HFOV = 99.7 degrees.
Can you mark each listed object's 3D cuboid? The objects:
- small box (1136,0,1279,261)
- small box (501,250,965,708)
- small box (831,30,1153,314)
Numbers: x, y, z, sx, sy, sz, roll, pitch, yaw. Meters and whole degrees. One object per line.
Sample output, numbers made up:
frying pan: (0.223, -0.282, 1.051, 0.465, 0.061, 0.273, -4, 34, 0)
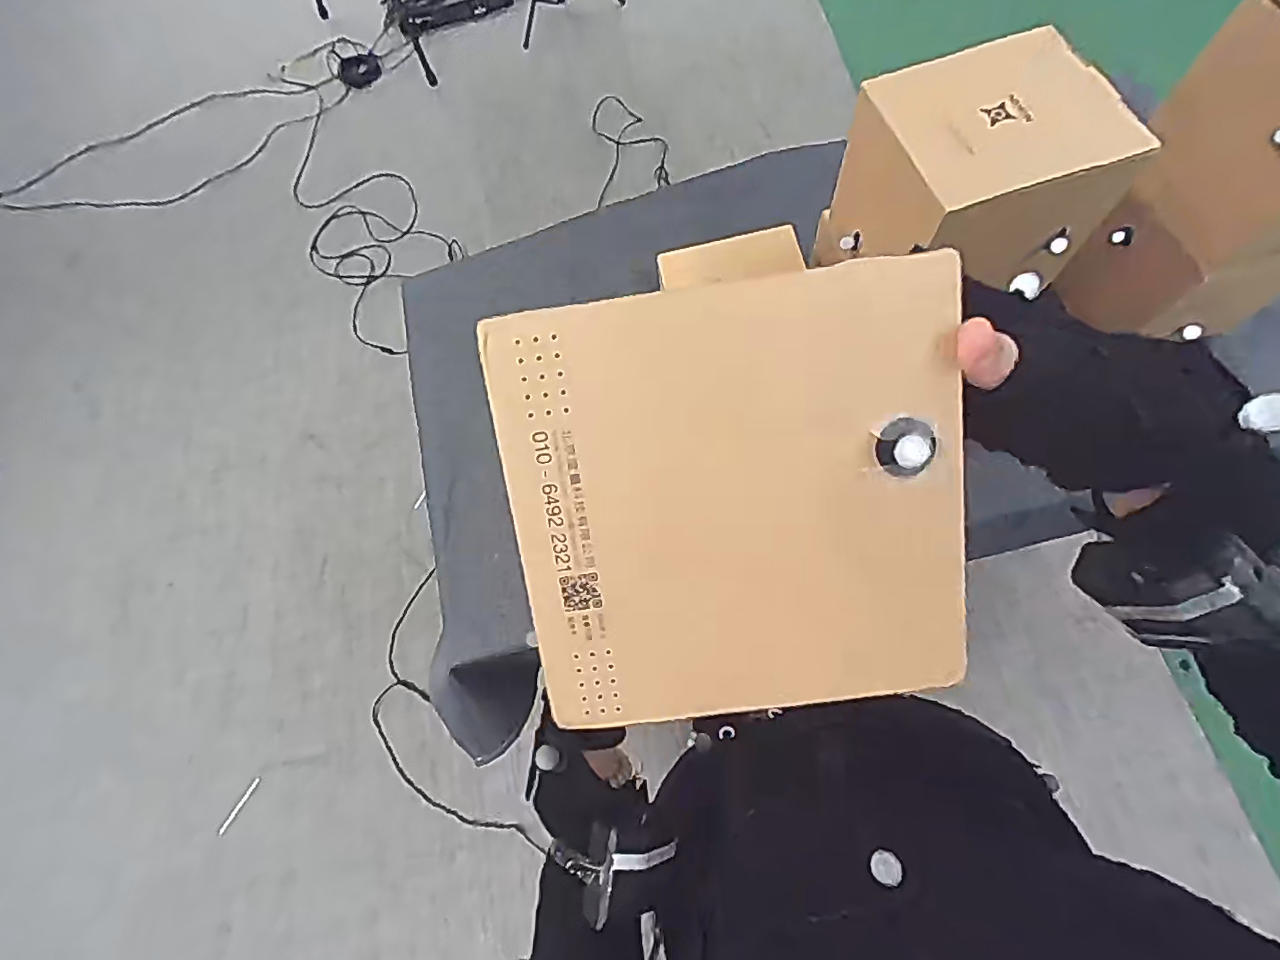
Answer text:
small box: (0.627, -0.330, 0.504, 0.168, 0.176, 0.179, -12, 69, 3)
small box: (0.038, -0.007, 0.288, 0.176, 0.179, 0.168, -9, 101, 3)
small box: (0.312, -0.277, 0.529, 0.179, 0.176, 0.168, -16, 68, 2)
